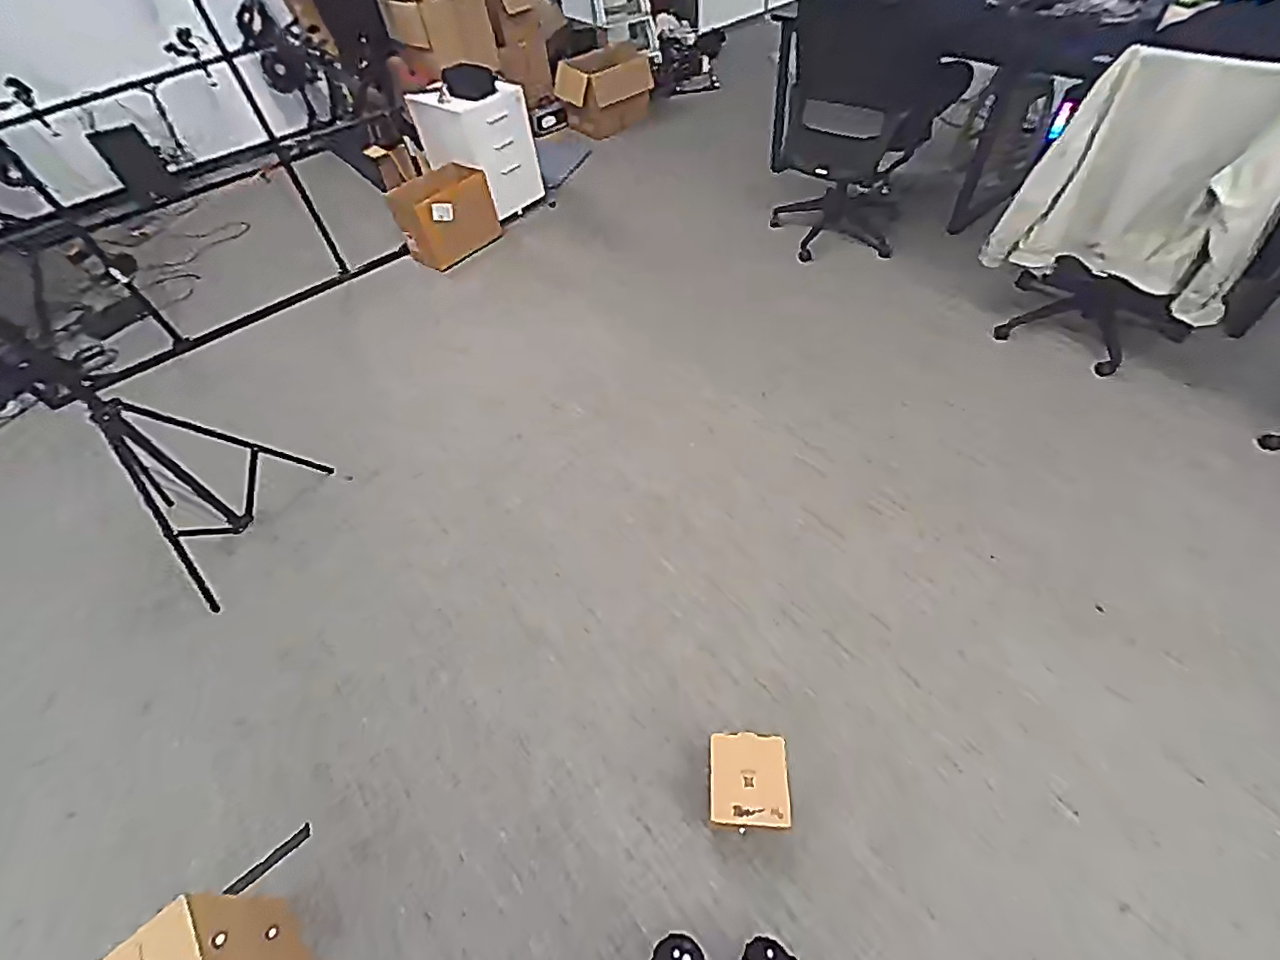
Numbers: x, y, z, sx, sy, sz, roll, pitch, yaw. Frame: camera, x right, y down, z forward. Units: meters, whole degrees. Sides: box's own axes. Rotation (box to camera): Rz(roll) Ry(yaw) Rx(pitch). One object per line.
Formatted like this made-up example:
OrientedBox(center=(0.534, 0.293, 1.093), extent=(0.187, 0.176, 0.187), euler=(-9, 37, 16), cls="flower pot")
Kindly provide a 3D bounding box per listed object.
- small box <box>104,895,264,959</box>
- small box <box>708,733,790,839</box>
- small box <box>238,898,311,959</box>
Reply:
OrientedBox(center=(-0.824, 0.896, 0.978), extent=(0.168, 0.176, 0.179), euler=(-38, 56, -22), cls="small box")
OrientedBox(center=(0.239, 0.694, 1.225), extent=(0.168, 0.176, 0.179), euler=(1, 52, 6), cls="small box")
OrientedBox(center=(-0.813, 1.001, 1.104), extent=(0.168, 0.176, 0.179), euler=(-39, 56, -23), cls="small box")
